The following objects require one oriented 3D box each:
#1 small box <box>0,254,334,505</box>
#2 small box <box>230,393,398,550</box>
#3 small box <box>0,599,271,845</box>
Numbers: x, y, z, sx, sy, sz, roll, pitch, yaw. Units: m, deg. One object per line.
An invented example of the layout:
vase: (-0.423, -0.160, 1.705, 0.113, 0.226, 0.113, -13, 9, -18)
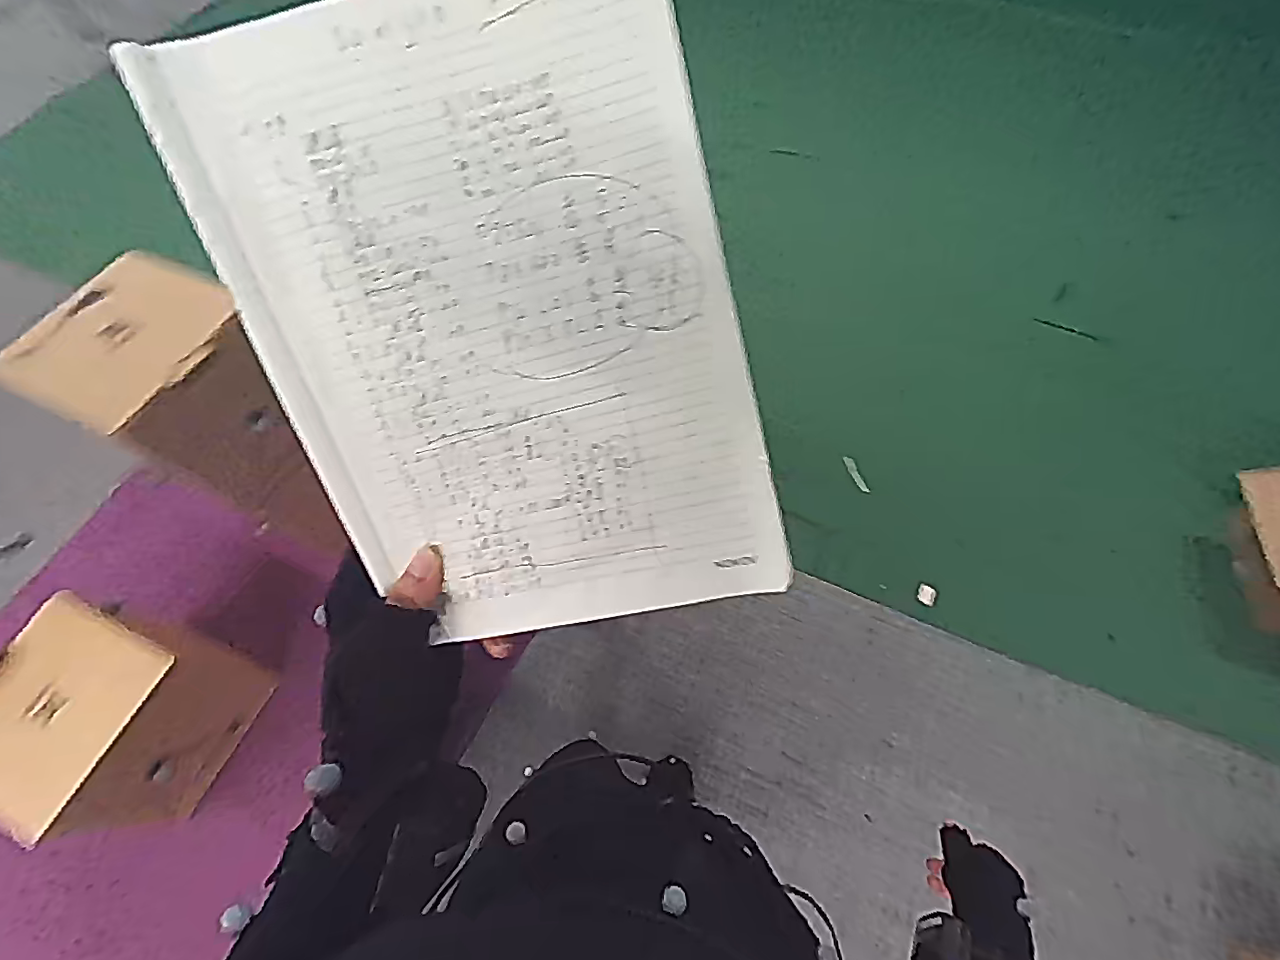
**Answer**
small box: (-0.471, -0.094, 0.565, 0.179, 0.176, 0.168, 22, 66, 12)
small box: (-0.462, -0.025, 0.713, 0.179, 0.176, 0.168, 22, 66, 14)
small box: (-0.557, 0.251, 0.581, 0.179, 0.176, 0.168, 19, 66, 13)
